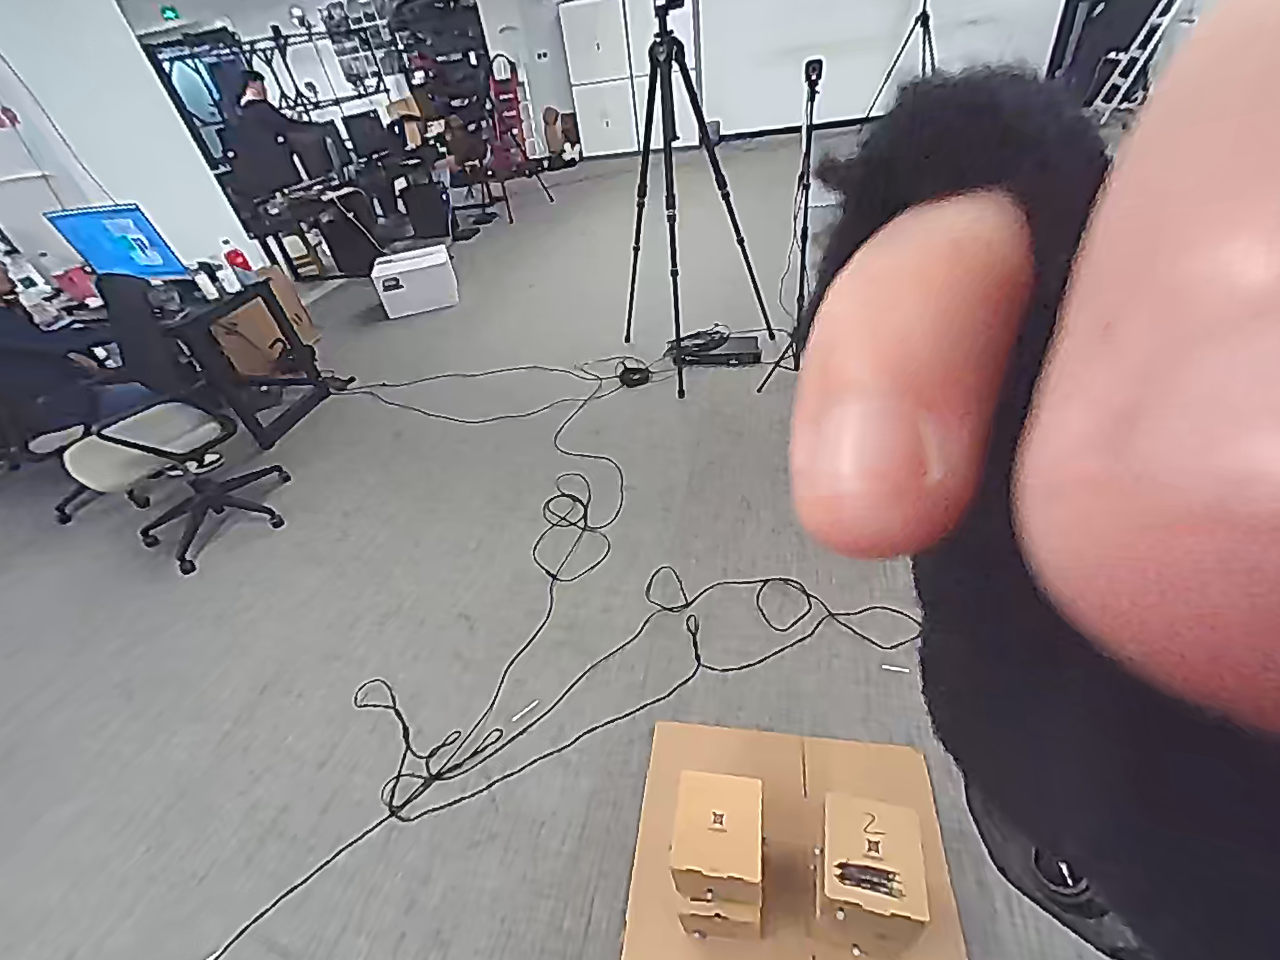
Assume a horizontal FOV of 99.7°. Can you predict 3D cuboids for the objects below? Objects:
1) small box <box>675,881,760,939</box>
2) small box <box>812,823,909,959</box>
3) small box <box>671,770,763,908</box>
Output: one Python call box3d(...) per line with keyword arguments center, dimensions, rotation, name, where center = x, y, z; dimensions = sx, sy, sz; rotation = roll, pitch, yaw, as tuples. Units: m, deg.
box3d(center=(0.173, 0.860, 1.167), dimensions=(0.168, 0.176, 0.179), rotation=(-1, 40, 11), name="small box")
box3d(center=(0.447, 0.853, 1.120), dimensions=(0.168, 0.176, 0.179), rotation=(3, 42, 17), name="small box")
box3d(center=(0.160, 0.718, 1.083), dimensions=(0.168, 0.176, 0.179), rotation=(1, 40, 13), name="small box")
